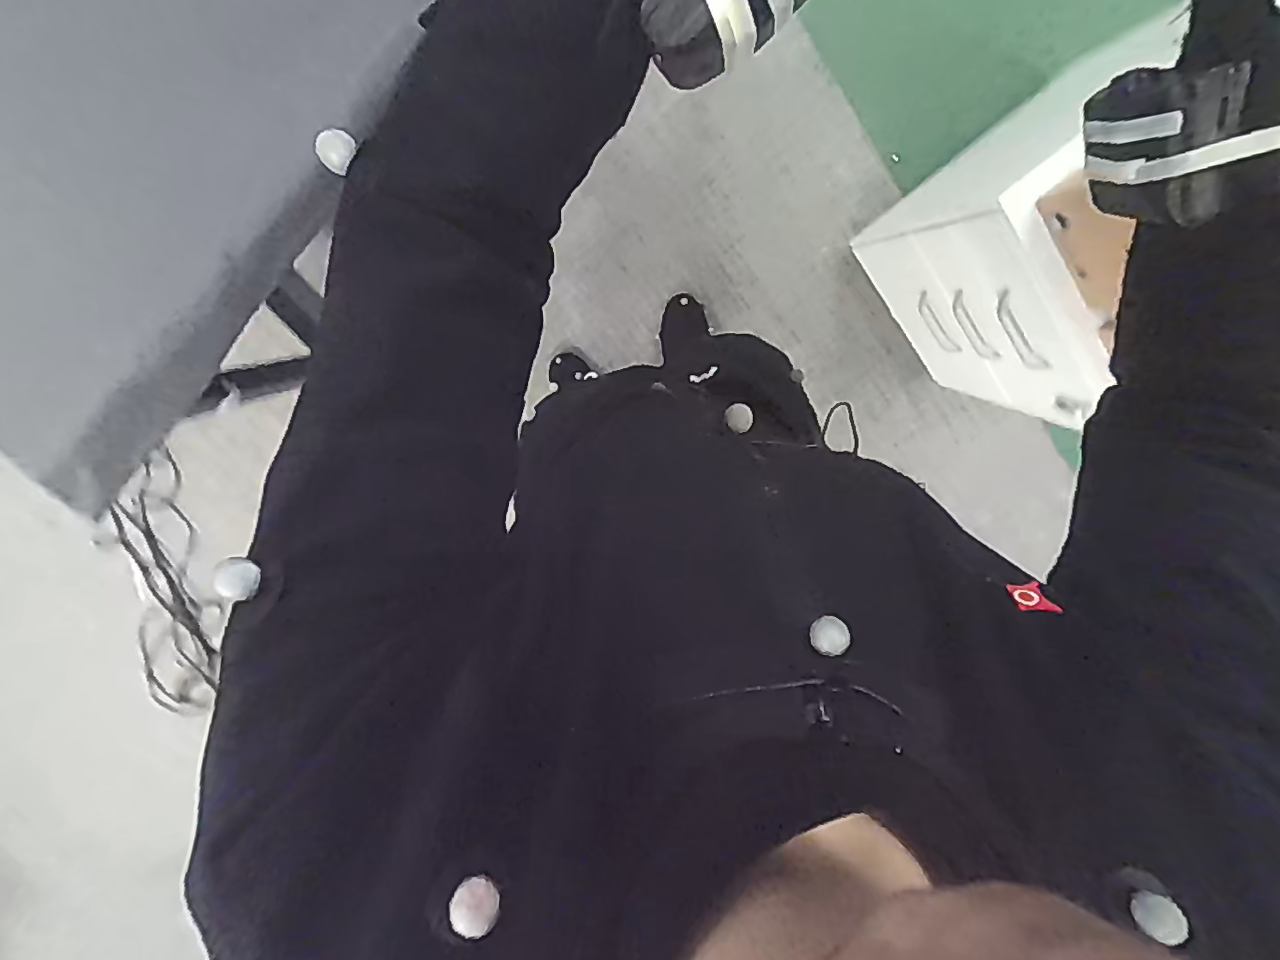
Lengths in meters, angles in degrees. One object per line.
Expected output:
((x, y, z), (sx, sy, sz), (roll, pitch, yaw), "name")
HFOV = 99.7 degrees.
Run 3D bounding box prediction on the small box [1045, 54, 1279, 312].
((0.579, -0.298, 0.572), (0.179, 0.176, 0.168), (-36, 105, 12), "small box")
